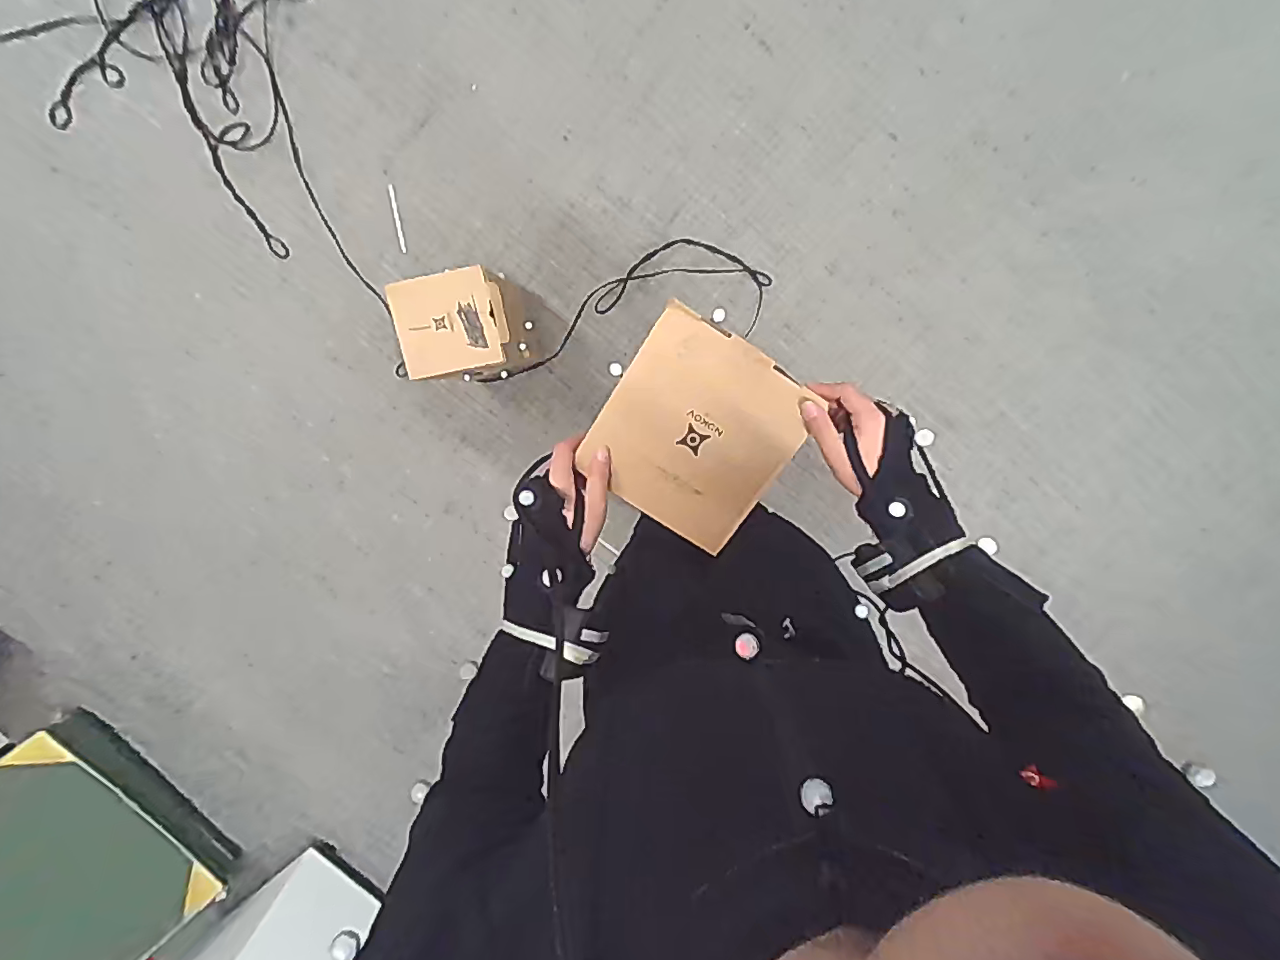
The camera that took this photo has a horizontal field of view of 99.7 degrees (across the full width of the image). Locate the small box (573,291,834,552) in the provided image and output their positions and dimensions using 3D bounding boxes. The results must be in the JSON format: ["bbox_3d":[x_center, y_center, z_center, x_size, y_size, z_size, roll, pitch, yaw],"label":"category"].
[{"bbox_3d":[0.055,-0.067,0.543,0.168,0.176,0.179,32,107,-6],"label":"small box"}]

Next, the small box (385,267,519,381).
[{"bbox_3d":[-0.332,-0.282,1.001,0.179,0.176,0.168,-11,101,2],"label":"small box"}]

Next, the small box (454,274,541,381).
[{"bbox_3d":[-0.324,-0.321,1.162,0.168,0.176,0.179,-16,101,3],"label":"small box"}]
